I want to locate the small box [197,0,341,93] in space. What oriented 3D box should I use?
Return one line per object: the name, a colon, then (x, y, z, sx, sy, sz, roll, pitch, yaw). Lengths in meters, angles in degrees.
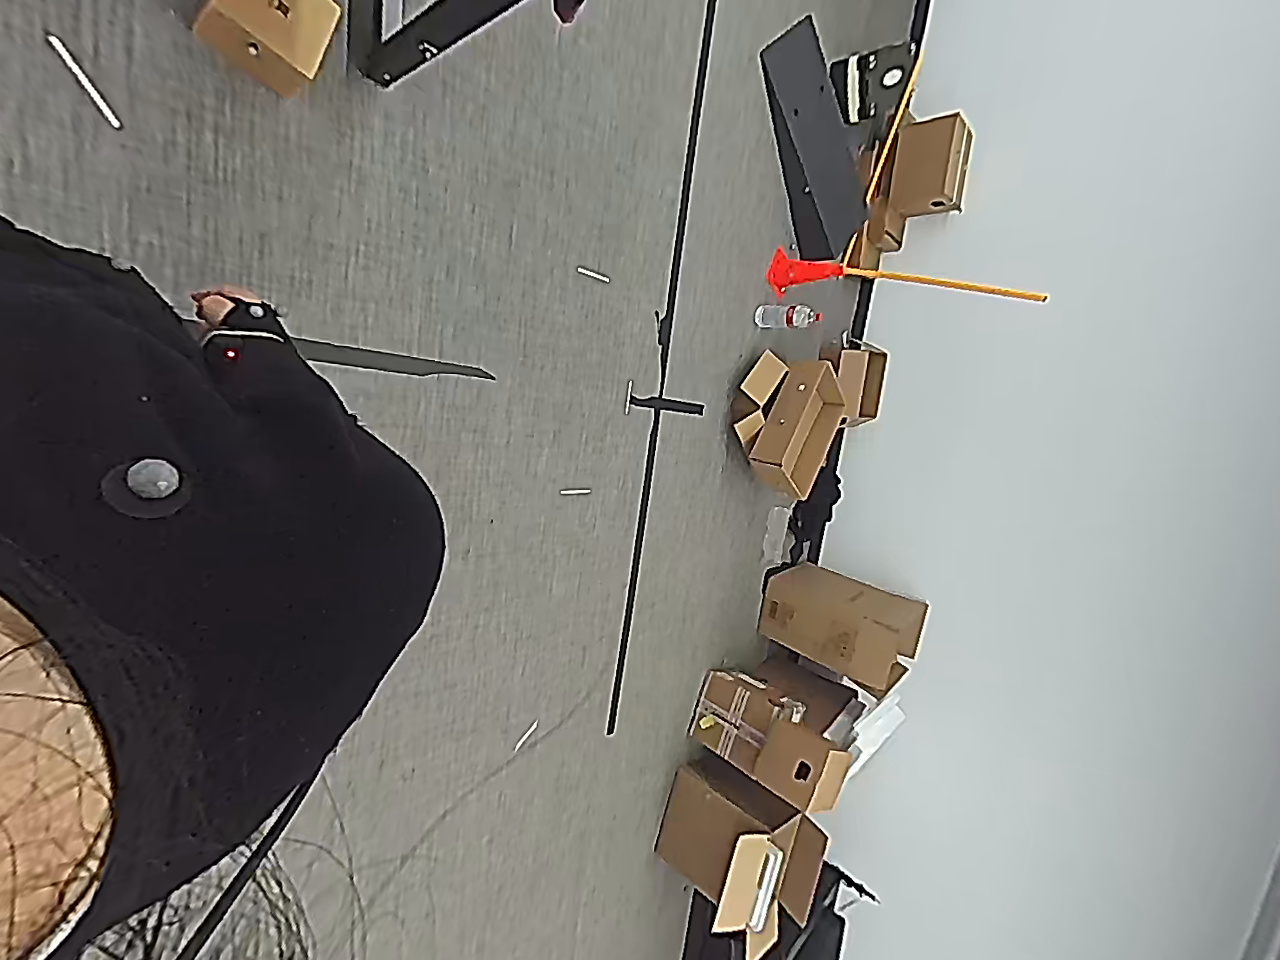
small box: (-0.745, -0.921, 1.085, 0.179, 0.176, 0.168, 23, 85, -48)
